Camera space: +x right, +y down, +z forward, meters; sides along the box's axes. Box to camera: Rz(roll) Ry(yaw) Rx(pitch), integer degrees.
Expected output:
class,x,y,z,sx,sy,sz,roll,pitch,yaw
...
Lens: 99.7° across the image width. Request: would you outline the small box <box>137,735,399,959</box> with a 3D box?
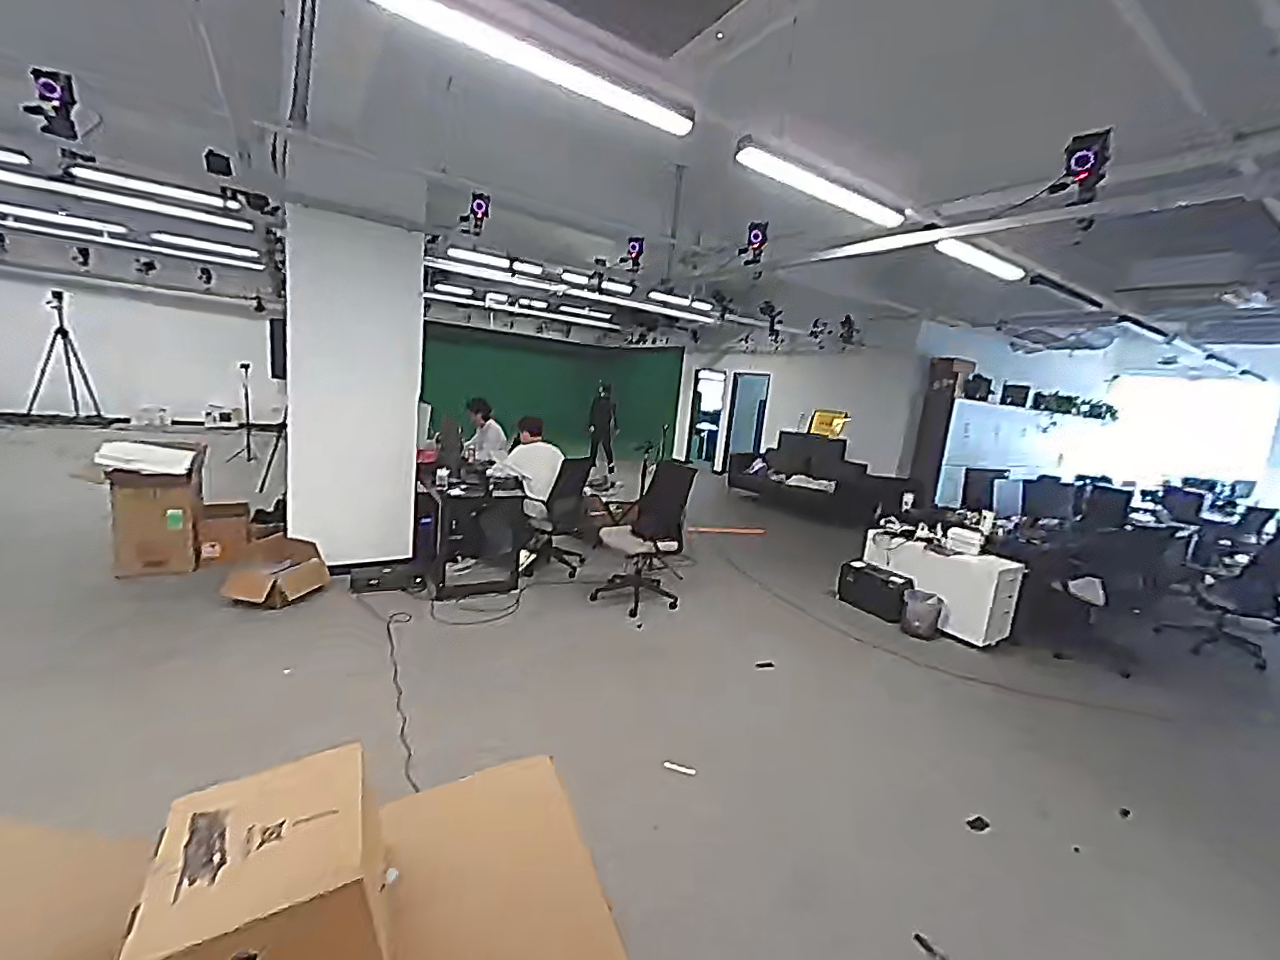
class,x,y,z,sx,sy,sz,roll,pitch,yaw
small box,-0.362,0.415,0.566,0.179,0.176,0.168,-9,24,-23
